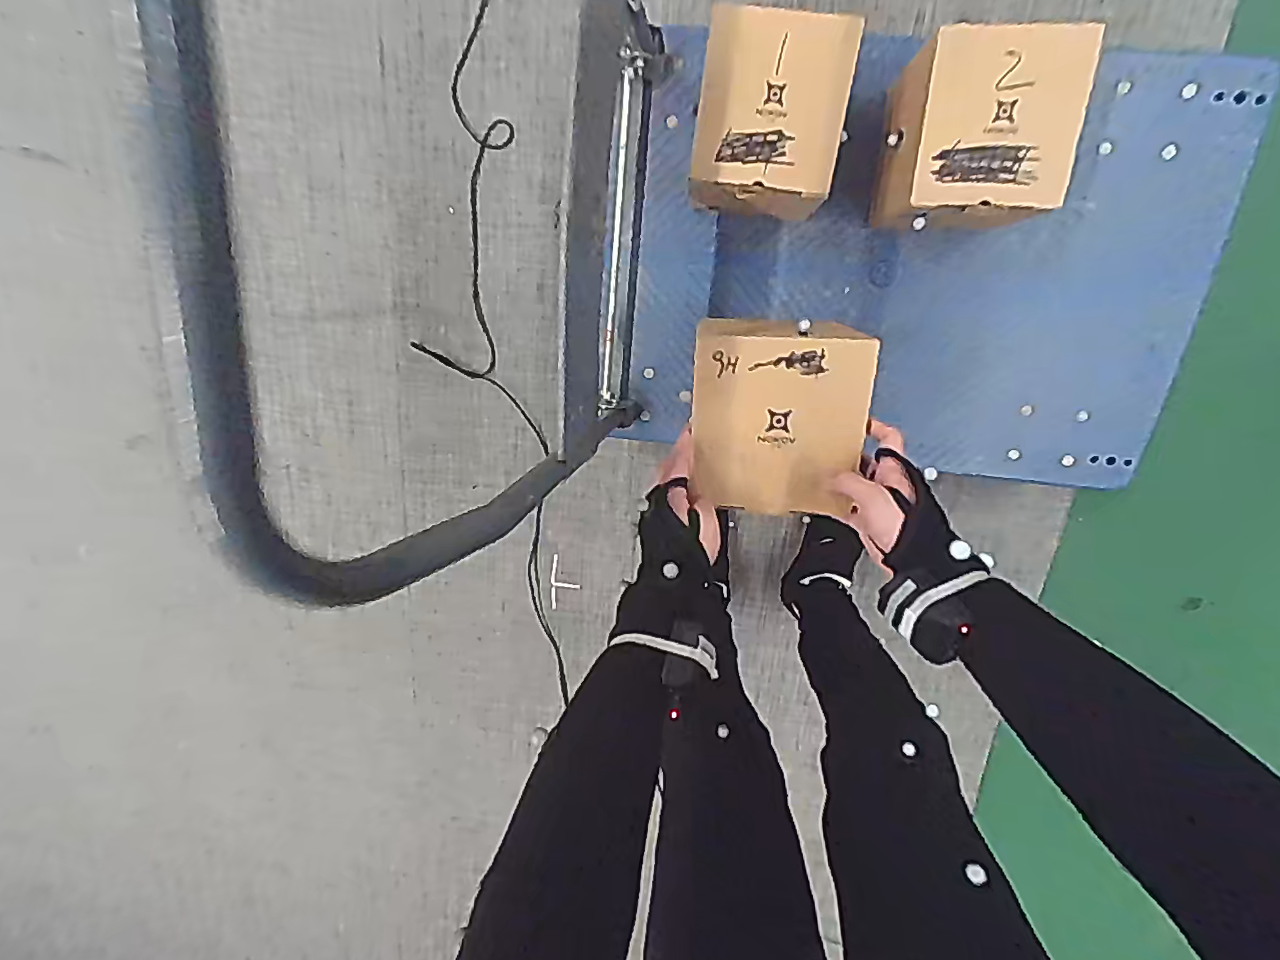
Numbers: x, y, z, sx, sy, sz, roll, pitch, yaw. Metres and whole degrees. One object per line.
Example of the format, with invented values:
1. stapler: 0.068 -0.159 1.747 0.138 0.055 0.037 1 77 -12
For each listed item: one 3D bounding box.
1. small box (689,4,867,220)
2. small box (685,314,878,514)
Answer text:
1. small box: 0.158 -0.439 0.676 0.168 0.176 0.179 9 106 3
2. small box: 0.141 -0.081 0.597 0.168 0.176 0.179 4 112 6
